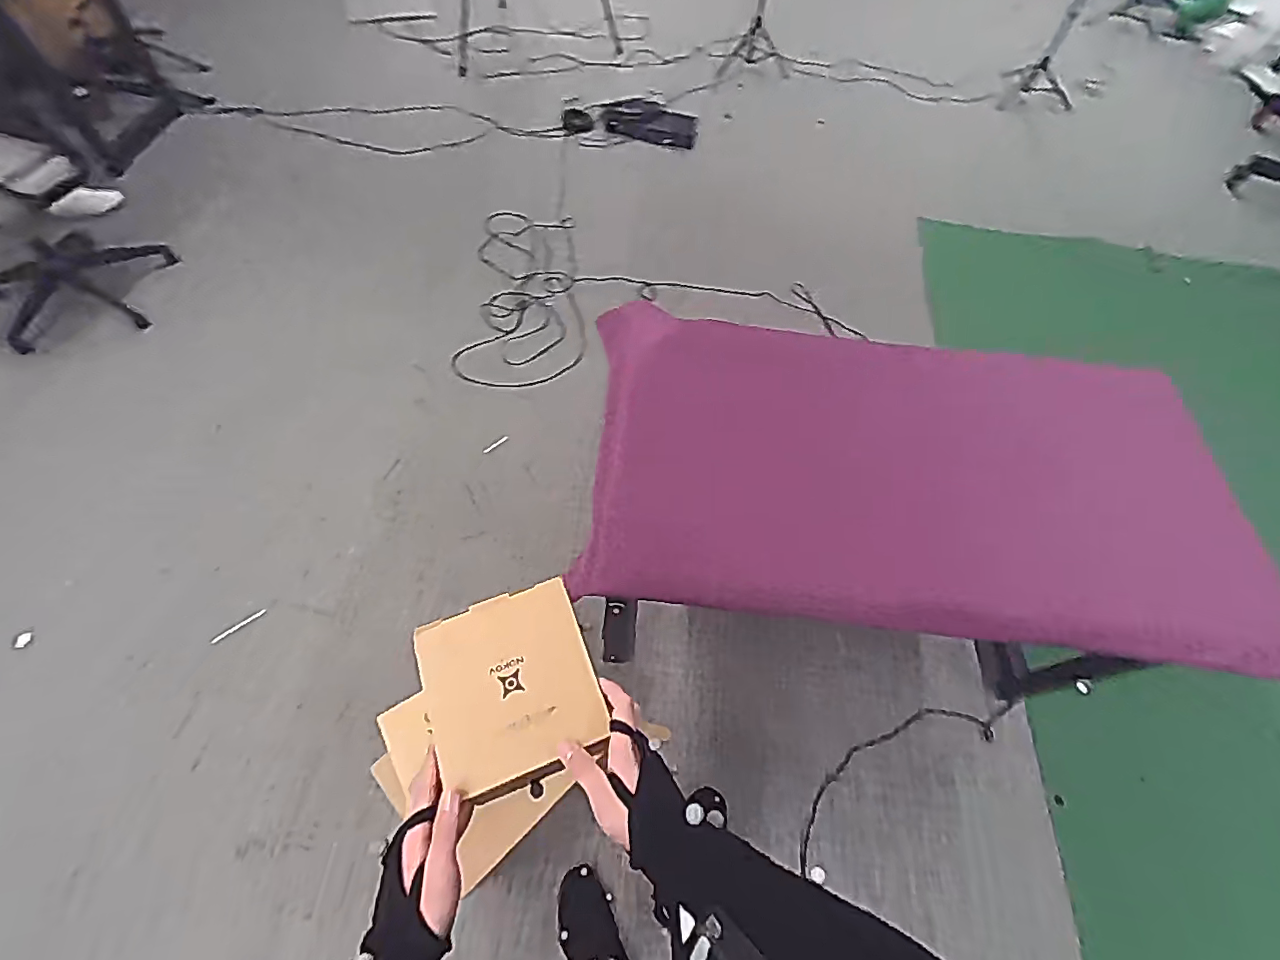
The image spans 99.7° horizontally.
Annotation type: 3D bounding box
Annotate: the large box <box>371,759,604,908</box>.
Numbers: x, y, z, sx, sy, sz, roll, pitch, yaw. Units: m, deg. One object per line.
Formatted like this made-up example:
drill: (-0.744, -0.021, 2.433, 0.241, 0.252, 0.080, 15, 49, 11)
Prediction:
large box: (-0.309, 0.653, 1.238, 0.408, 0.320, 0.320, -39, 69, -24)

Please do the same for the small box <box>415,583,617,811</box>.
small box: (-0.131, 0.244, 0.602, 0.168, 0.176, 0.179, -17, 62, -12)

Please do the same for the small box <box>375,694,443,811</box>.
small box: (-0.369, 0.506, 1.037, 0.179, 0.176, 0.168, -28, 62, -19)
